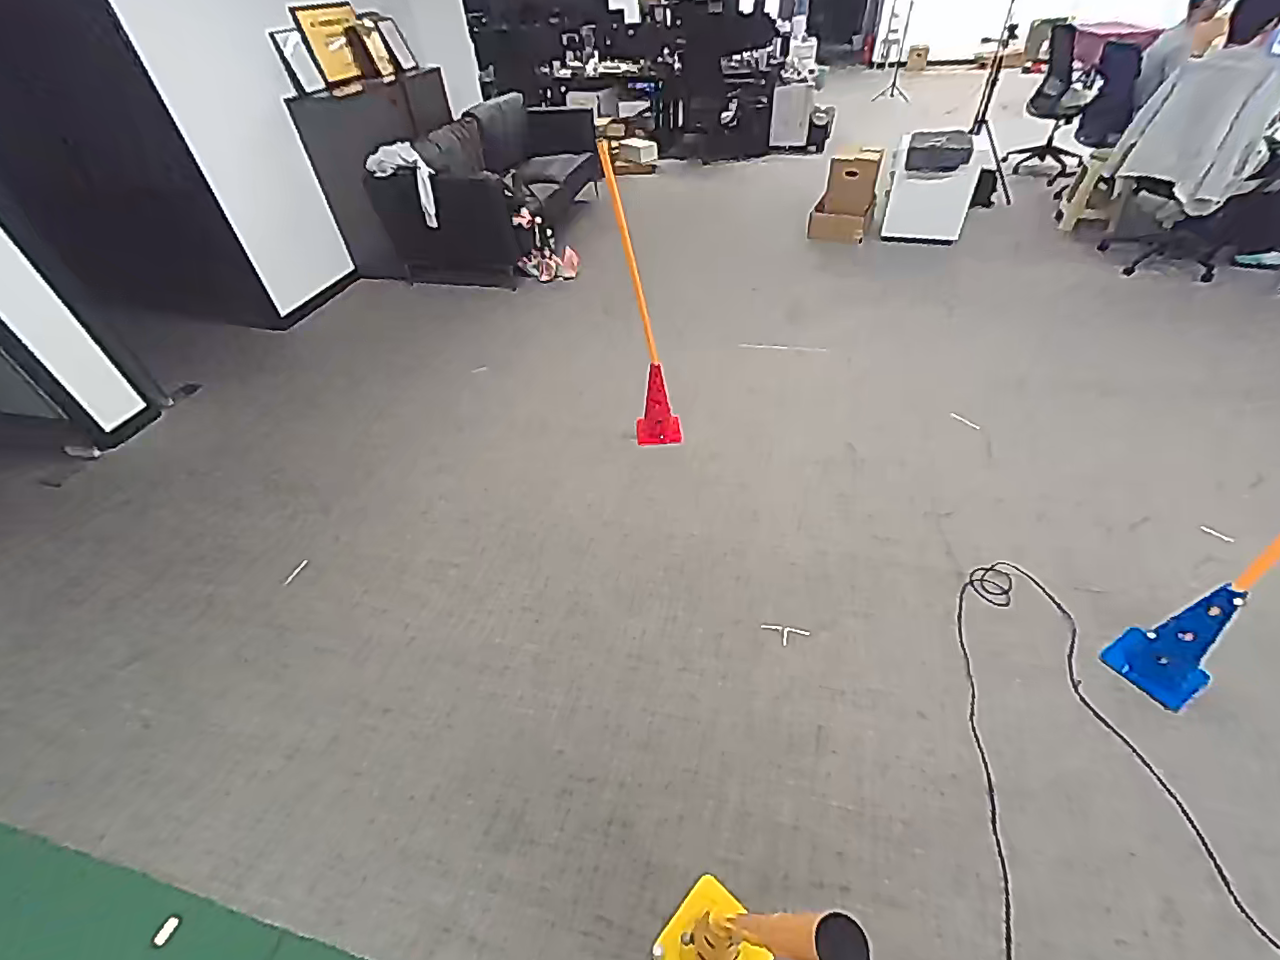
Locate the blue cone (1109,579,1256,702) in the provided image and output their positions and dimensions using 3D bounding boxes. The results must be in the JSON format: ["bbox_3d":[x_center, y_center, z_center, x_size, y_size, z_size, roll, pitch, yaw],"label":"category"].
[{"bbox_3d":[1.453,0.388,1.421,0.193,0.380,0.192,-23,45,-22],"label":"blue cone"}]
